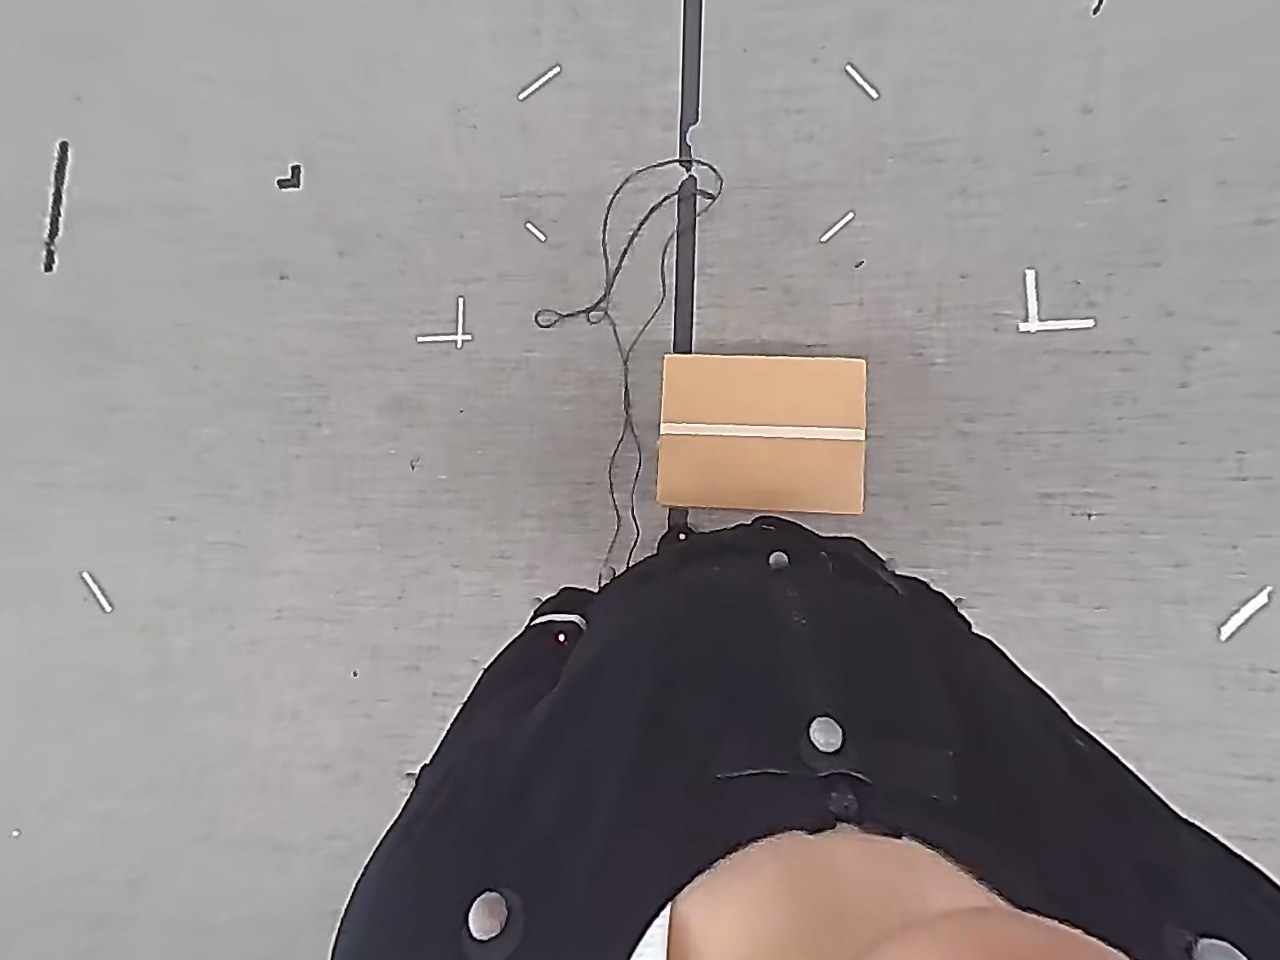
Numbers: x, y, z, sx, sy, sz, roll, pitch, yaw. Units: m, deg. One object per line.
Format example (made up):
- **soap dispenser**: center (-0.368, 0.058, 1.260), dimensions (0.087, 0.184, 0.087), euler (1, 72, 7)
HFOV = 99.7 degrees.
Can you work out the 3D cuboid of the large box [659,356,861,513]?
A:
- **large box**: center (0.252, -0.086, 1.241), dimensions (0.408, 0.320, 0.320), euler (3, 87, 5)
